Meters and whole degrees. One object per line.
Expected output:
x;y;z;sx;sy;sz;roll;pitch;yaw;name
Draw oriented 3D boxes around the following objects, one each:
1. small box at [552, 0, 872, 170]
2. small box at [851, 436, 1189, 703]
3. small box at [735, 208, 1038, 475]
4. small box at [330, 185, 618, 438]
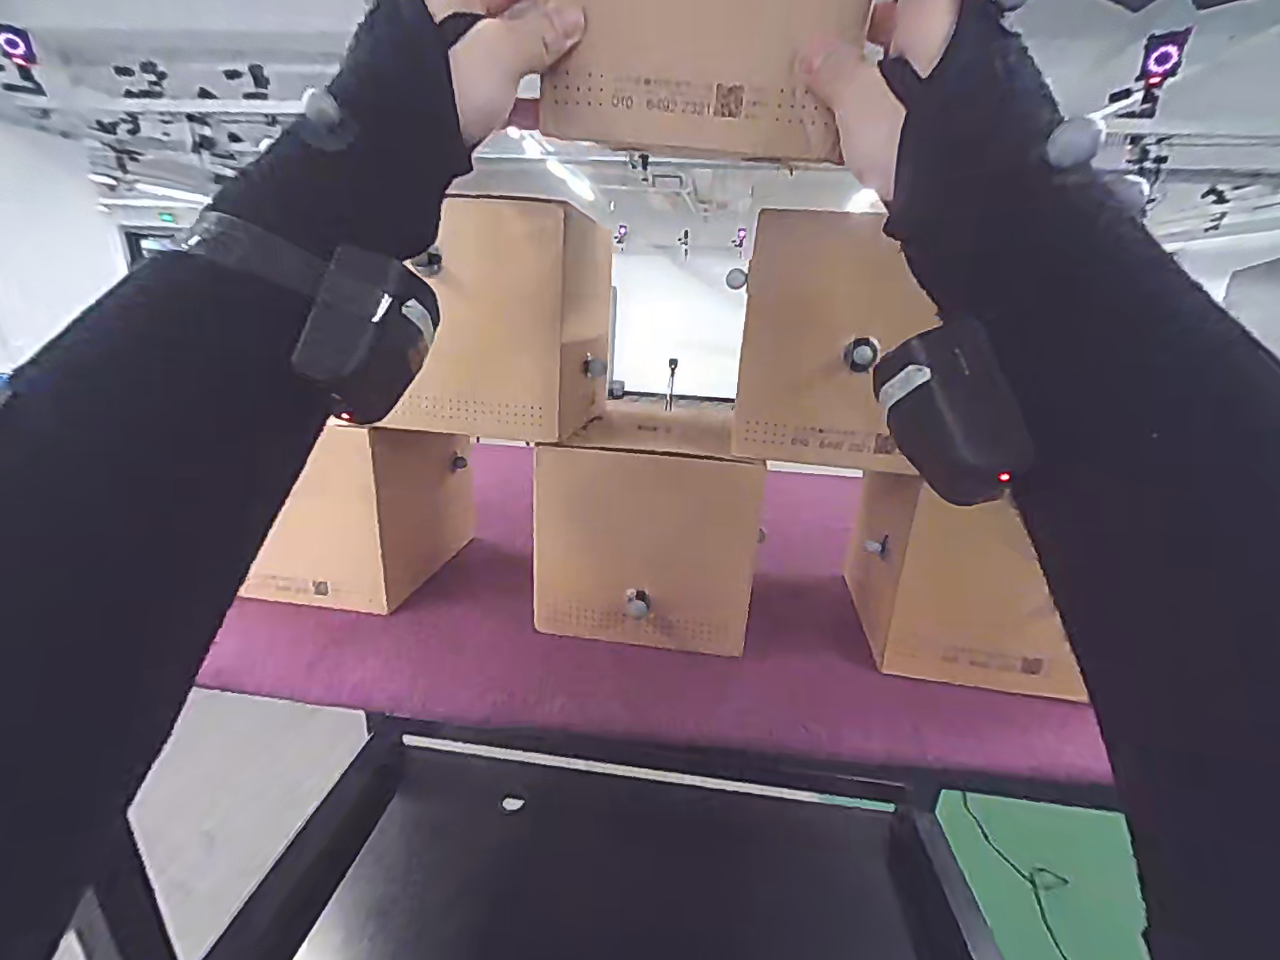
0.047;-0.290;0.330;0.168;0.176;0.179;8;29;6;small box
0.290;0.060;0.463;0.168;0.176;0.179;6;17;10;small box
0.169;-0.109;0.431;0.168;0.176;0.179;7;18;10;small box
-0.123;-0.135;0.458;0.179;0.176;0.168;7;18;7;small box
